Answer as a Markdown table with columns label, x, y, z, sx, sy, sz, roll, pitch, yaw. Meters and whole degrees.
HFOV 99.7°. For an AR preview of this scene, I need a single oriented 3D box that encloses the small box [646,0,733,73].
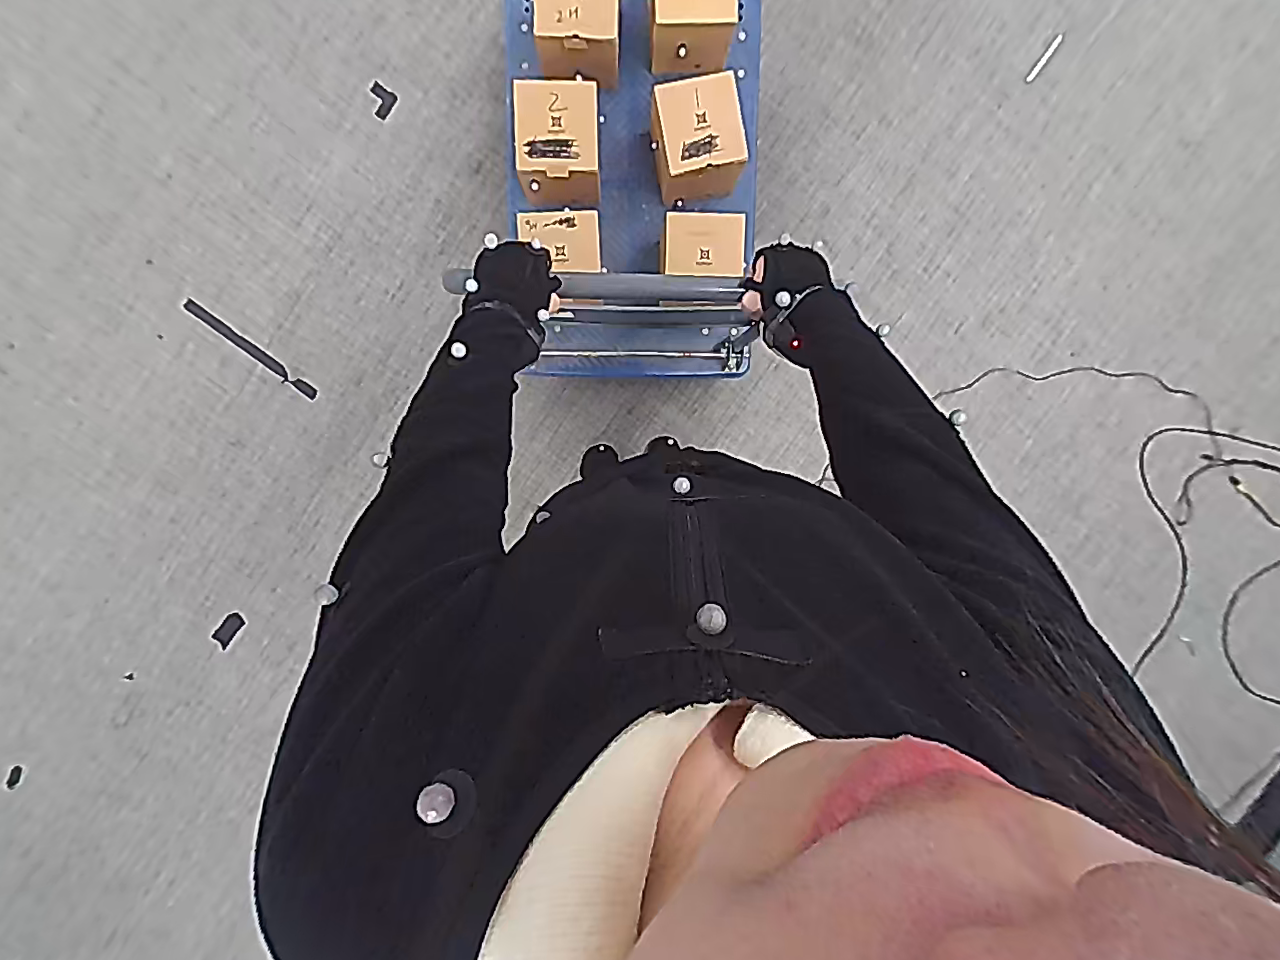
| label | x | y | z | sx | sy | sz | roll | pitch | yaw |
| --- | --- | --- | --- | --- | --- | --- | --- | --- | --- |
| small box | 0.100 | -0.998 | 1.143 | 0.168 | 0.176 | 0.179 | -3 | 96 | -2 |

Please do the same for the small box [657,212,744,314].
| label | x | y | z | sx | sy | sz | roll | pitch | yaw |
| --- | --- | --- | --- | --- | --- | --- | --- | --- | --- |
| small box | 0.128 | -0.472 | 1.199 | 0.168 | 0.176 | 0.179 | 0 | 95 | -3 |

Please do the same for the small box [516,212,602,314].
| label | x | y | z | sx | sy | sz | roll | pitch | yaw |
| --- | --- | --- | --- | --- | --- | --- | --- | --- | --- |
| small box | -0.170 | -0.466 | 1.185 | 0.168 | 0.176 | 0.179 | -3 | 96 | -3 |

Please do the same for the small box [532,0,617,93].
| label | x | y | z | sx | sy | sz | roll | pitch | yaw |
| --- | --- | --- | --- | --- | --- | --- | --- | --- | --- |
| small box | -0.132 | -0.961 | 1.135 | 0.168 | 0.176 | 0.179 | 2 | 97 | -2 |
